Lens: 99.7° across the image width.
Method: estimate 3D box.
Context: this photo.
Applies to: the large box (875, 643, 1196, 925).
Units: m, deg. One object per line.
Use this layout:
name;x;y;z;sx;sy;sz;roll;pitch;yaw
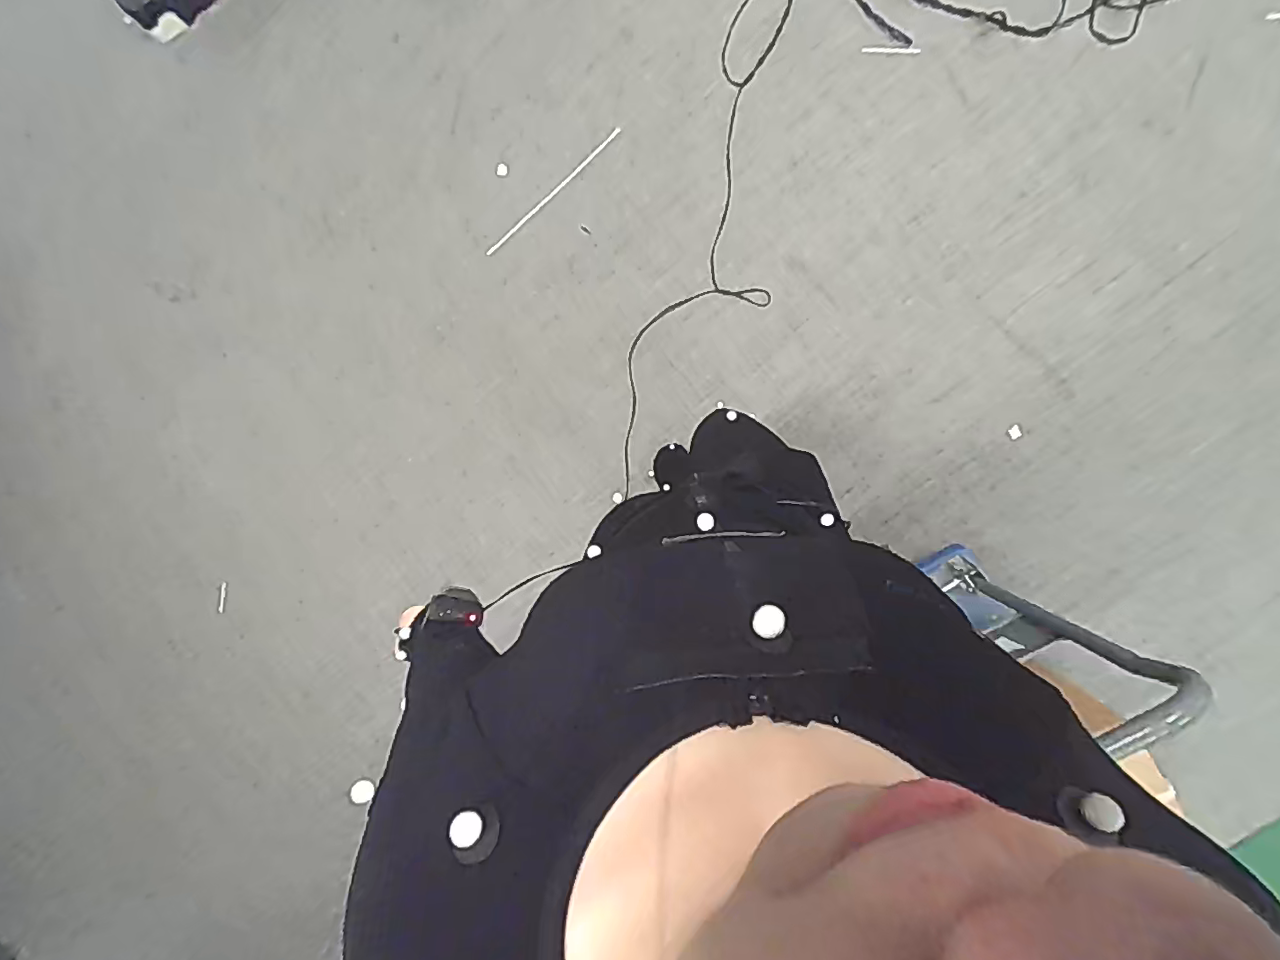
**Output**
large box;0.805;0.625;1.169;0.408;0.320;0.320;-31;91;8
